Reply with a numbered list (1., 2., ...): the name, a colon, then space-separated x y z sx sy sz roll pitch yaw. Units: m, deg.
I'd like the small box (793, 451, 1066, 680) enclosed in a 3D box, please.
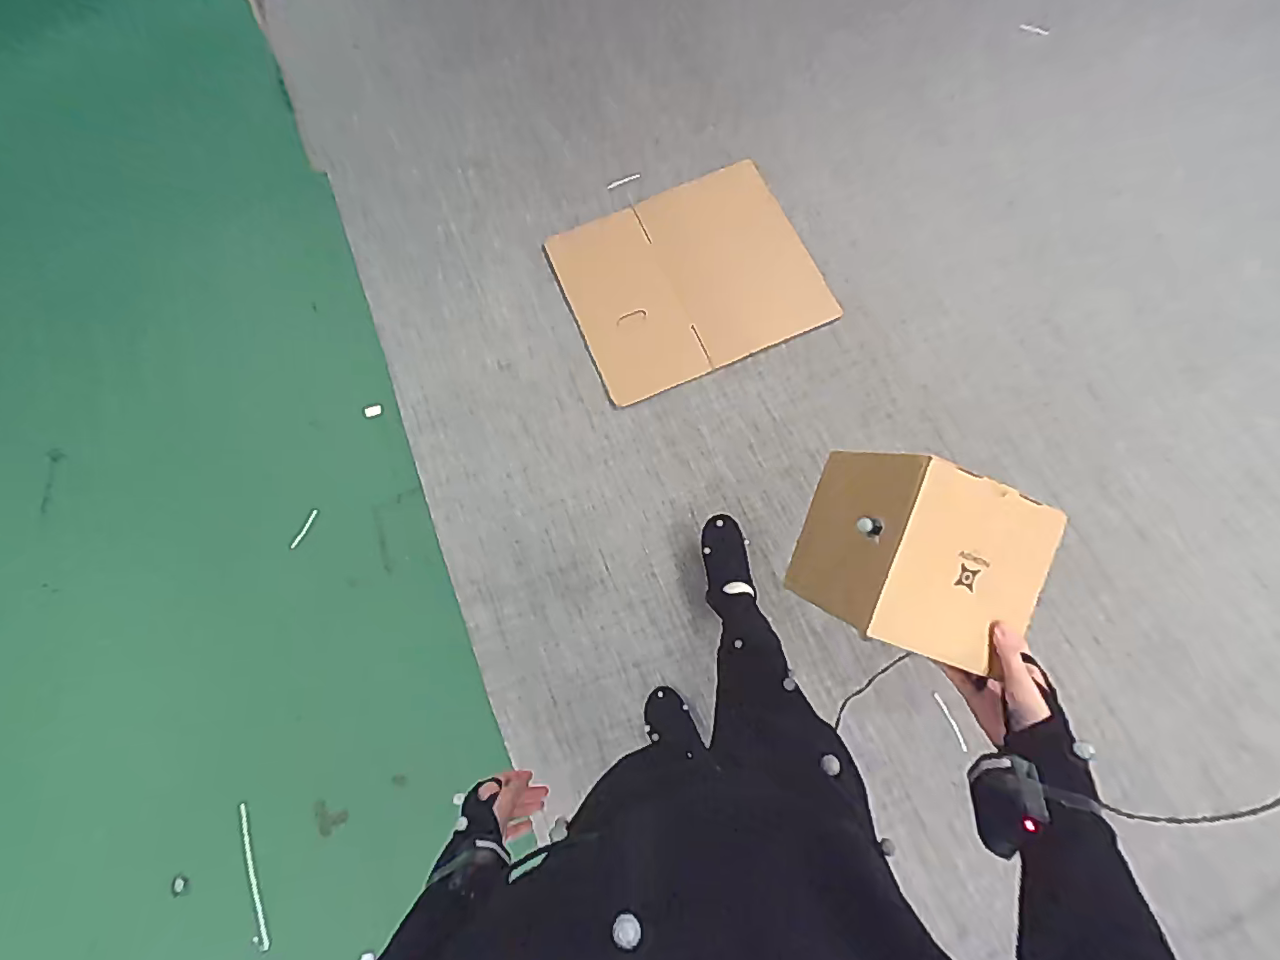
1. small box: 0.289 0.078 0.578 0.168 0.176 0.179 21 88 -12
